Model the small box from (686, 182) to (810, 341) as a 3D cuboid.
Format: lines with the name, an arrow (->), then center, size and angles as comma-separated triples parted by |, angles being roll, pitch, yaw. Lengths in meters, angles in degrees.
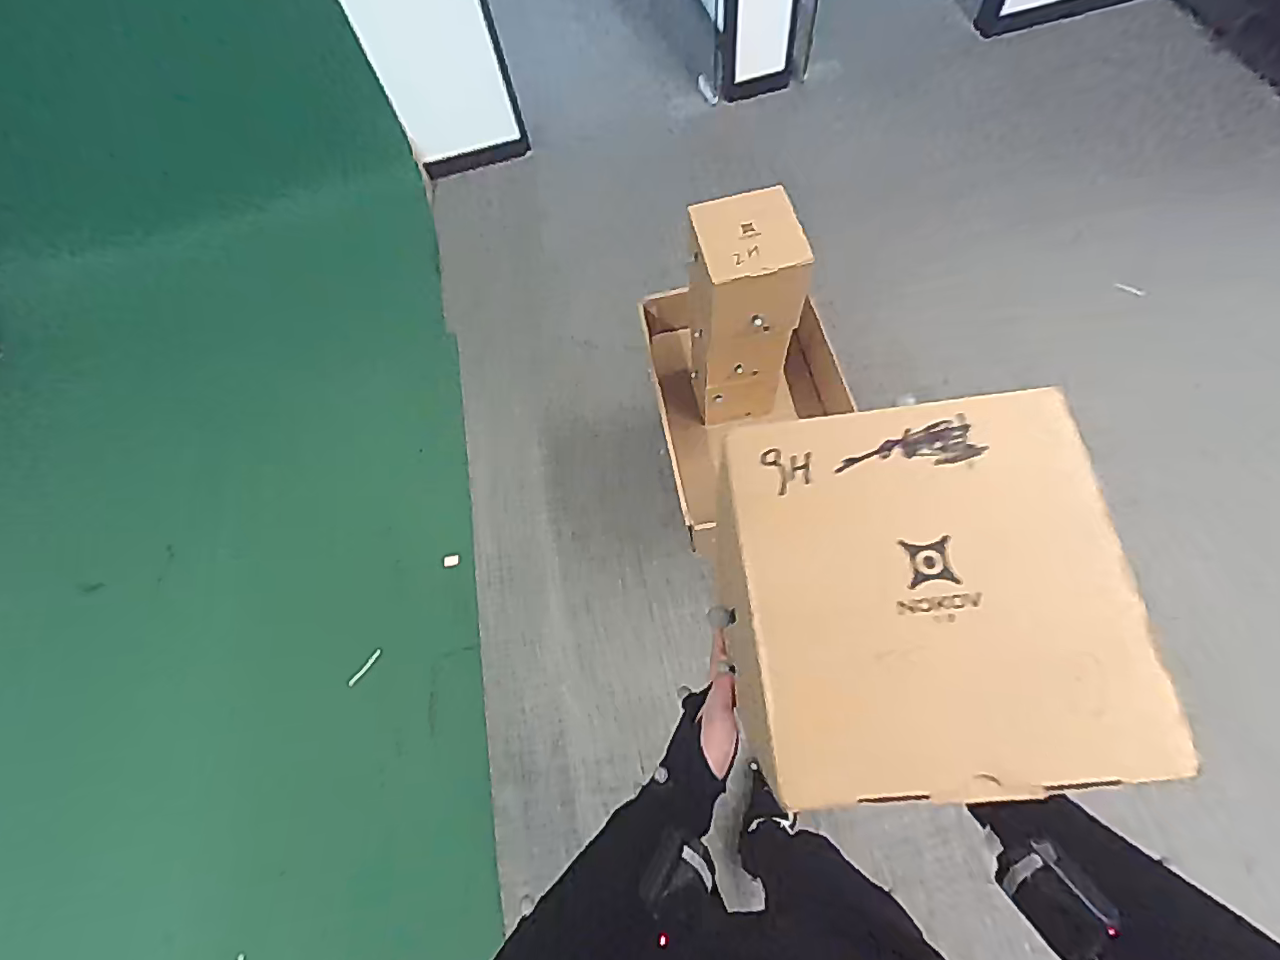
small box -> 0.179, -0.375, 0.946 | 0.168, 0.176, 0.179 | -13, 67, 2

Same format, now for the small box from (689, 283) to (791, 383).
small box -> 0.195, -0.325, 1.103 | 0.168, 0.176, 0.179 | -11, 67, 2

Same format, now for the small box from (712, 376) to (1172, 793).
small box -> 0.136, 0.062, 0.324 | 0.168, 0.176, 0.179 | -8, 74, 4
